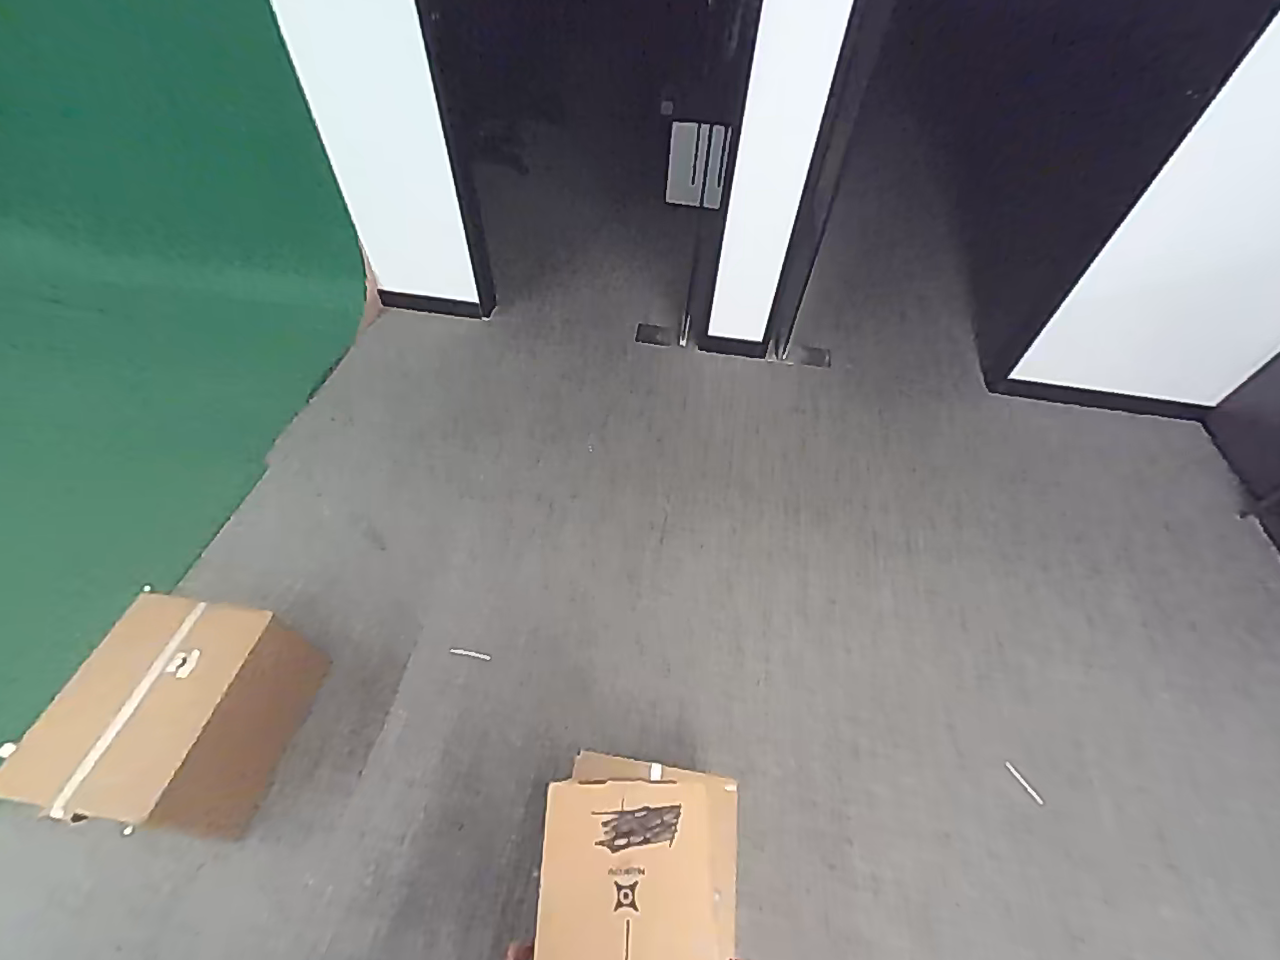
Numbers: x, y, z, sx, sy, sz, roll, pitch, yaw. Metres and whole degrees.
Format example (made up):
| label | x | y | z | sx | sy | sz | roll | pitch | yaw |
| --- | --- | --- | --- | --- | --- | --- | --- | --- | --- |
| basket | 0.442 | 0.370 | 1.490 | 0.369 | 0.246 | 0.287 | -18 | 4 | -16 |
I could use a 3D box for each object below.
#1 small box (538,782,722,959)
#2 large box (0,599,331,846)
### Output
| label | x | y | z | sx | sy | sz | roll | pitch | yaw |
| --- | --- | --- | --- | --- | --- | --- | --- | --- | --- |
| small box | -0.010 | 0.434 | 0.572 | 0.168 | 0.176 | 0.179 | -1 | 51 | -1 |
| large box | -0.974 | 0.528 | 1.184 | 0.320 | 0.320 | 0.408 | 8 | 50 | 4 |
